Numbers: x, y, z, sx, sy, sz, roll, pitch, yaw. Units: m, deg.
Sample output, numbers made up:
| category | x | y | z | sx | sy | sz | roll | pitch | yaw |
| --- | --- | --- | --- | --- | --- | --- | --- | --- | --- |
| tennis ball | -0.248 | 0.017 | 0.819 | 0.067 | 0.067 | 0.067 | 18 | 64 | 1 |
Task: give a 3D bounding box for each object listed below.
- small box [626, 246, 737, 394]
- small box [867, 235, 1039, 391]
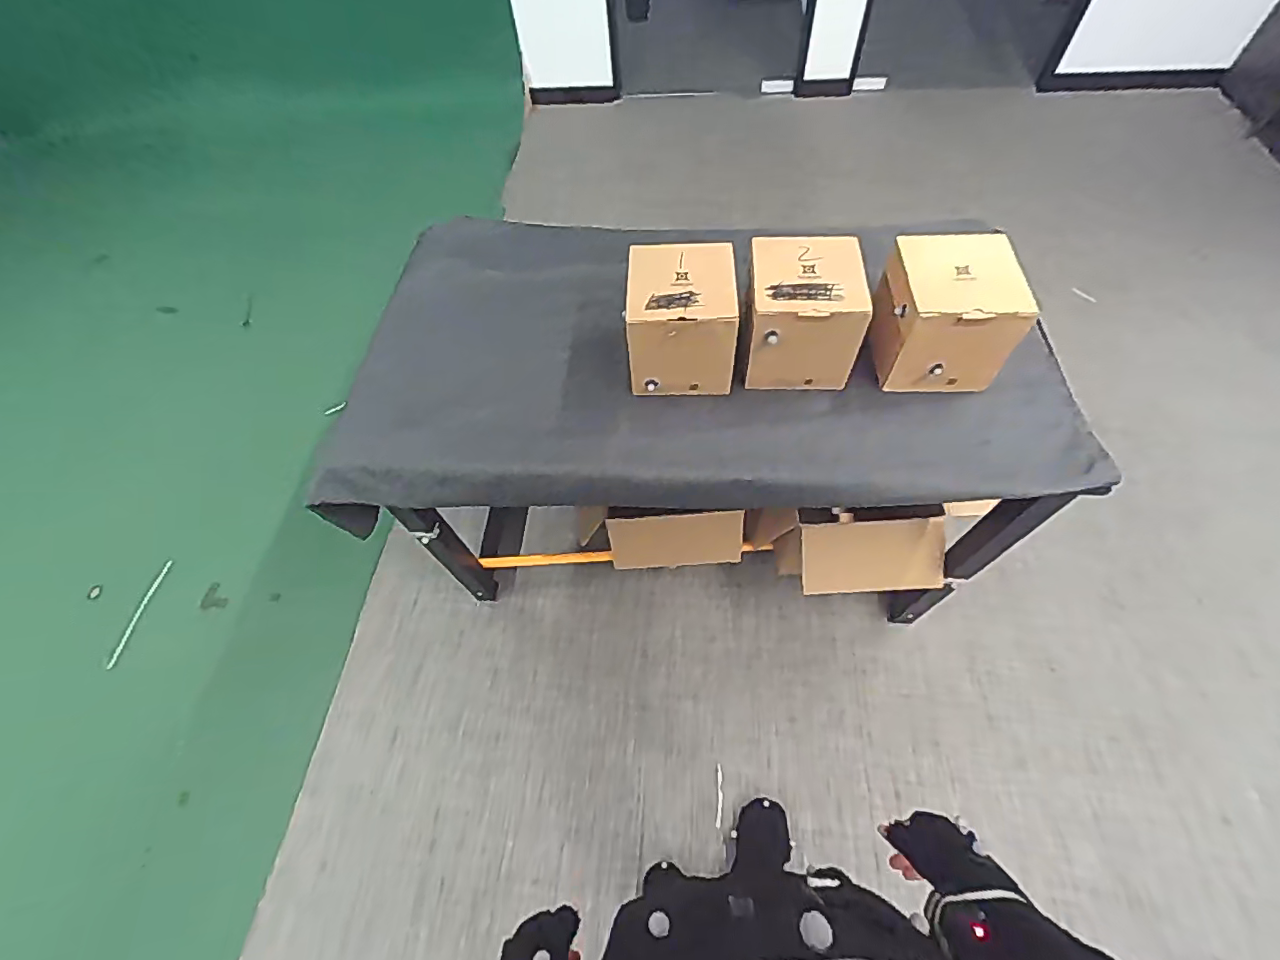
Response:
| category | x | y | z | sx | sy | sz | roll | pitch | yaw |
| --- | --- | --- | --- | --- | --- | --- | --- | --- | --- |
| small box | 0.069 | -0.256 | 0.892 | 0.168 | 0.176 | 0.179 | 0 | 59 | 4 |
| small box | 0.480 | -0.263 | 0.865 | 0.168 | 0.176 | 0.179 | 0 | 60 | 5 |
